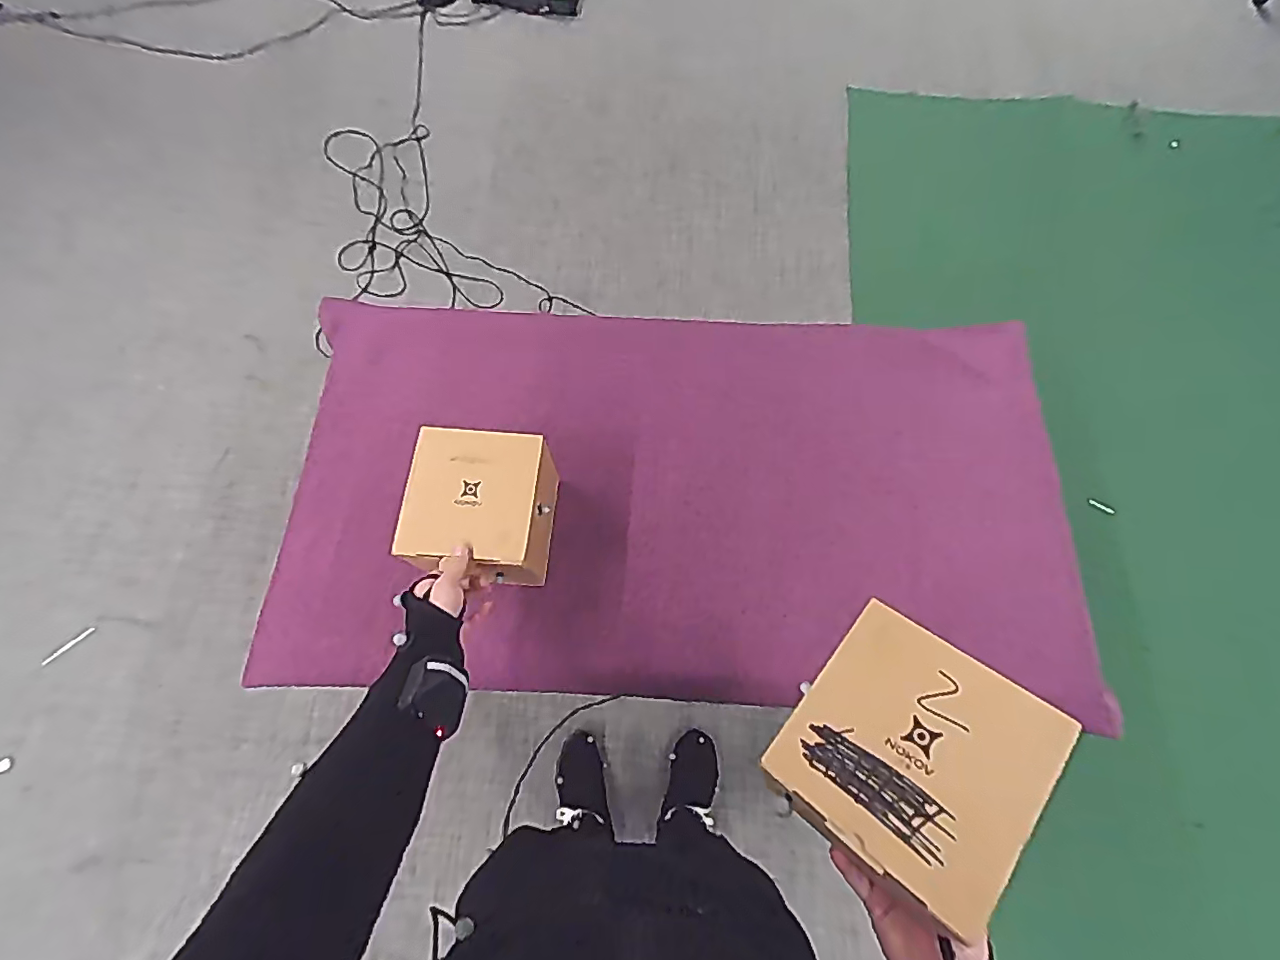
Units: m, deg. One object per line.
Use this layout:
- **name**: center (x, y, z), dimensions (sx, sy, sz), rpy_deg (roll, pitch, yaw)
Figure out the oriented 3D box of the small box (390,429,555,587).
- **small box**: center (-0.220, 0.048, 0.765), dimensions (0.168, 0.176, 0.179), rpy_deg (5, 68, 1)
